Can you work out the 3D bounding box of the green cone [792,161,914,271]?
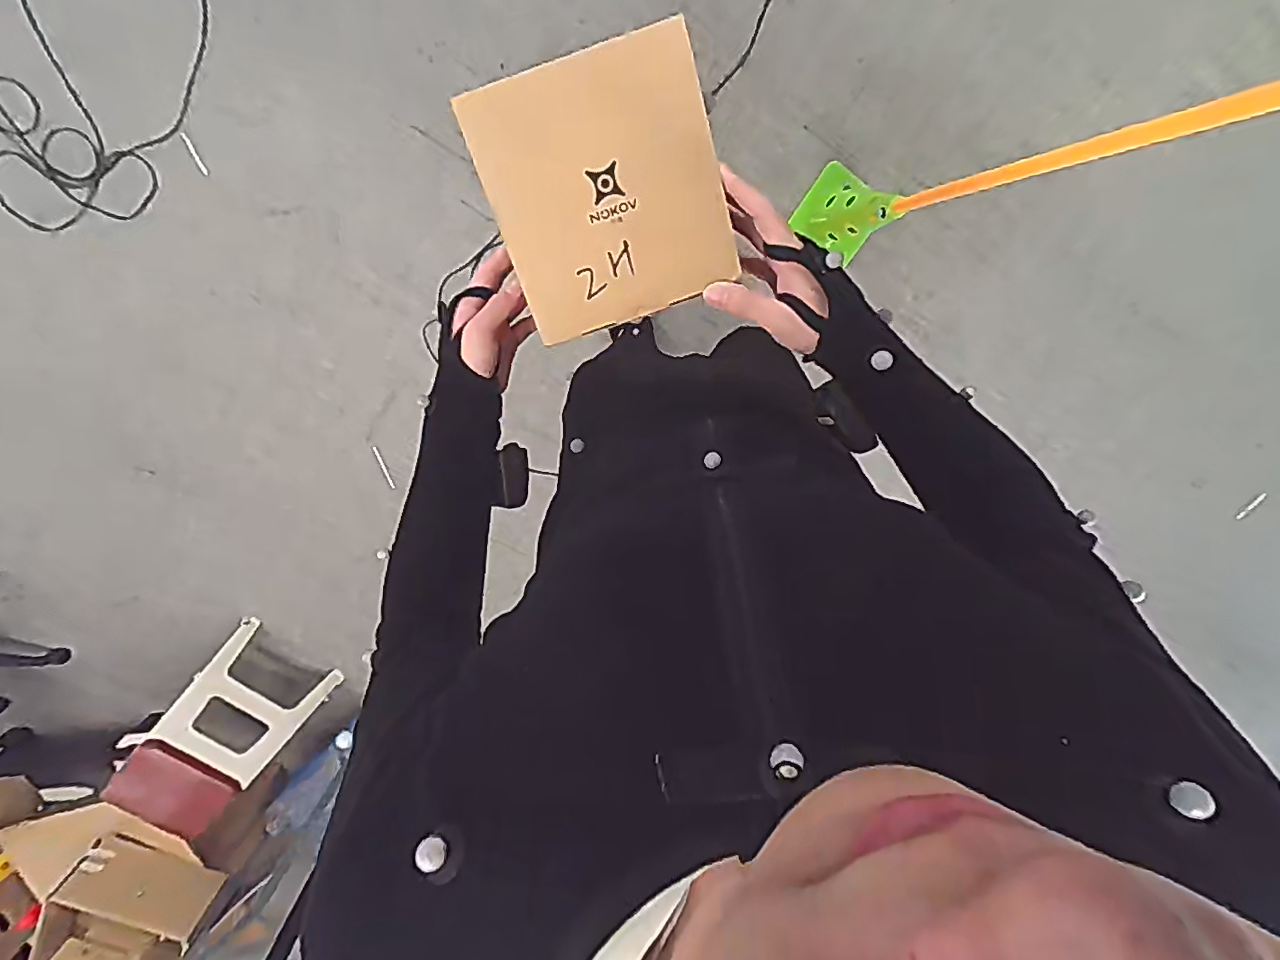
[{"bbox_3d":[0.519,-0.607,1.217,0.202,0.368,0.200,31,107,-11],"label":"green cone"}]
